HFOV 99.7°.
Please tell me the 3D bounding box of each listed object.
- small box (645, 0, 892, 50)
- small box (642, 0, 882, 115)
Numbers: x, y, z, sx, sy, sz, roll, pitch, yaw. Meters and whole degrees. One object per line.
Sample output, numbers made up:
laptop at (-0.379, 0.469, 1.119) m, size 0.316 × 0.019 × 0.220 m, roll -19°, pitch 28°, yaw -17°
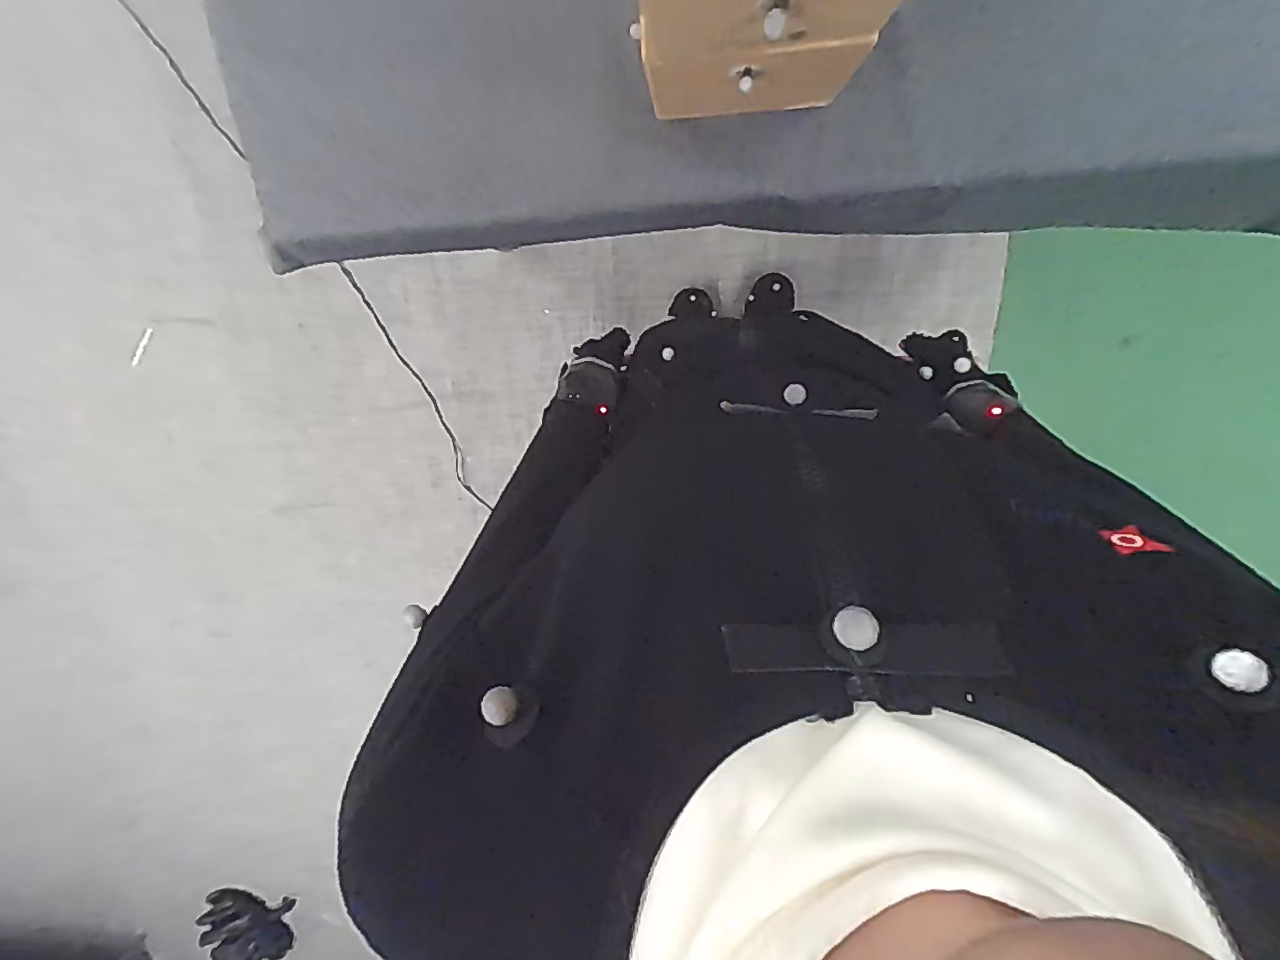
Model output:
small box at (0.079, -0.372, 0.299) m, size 0.168 × 0.176 × 0.179 m, roll -2°, pitch 111°, yaw 7°
small box at (0.094, -0.426, 0.453) m, size 0.179 × 0.176 × 0.168 m, roll -1°, pitch 111°, yaw 5°
